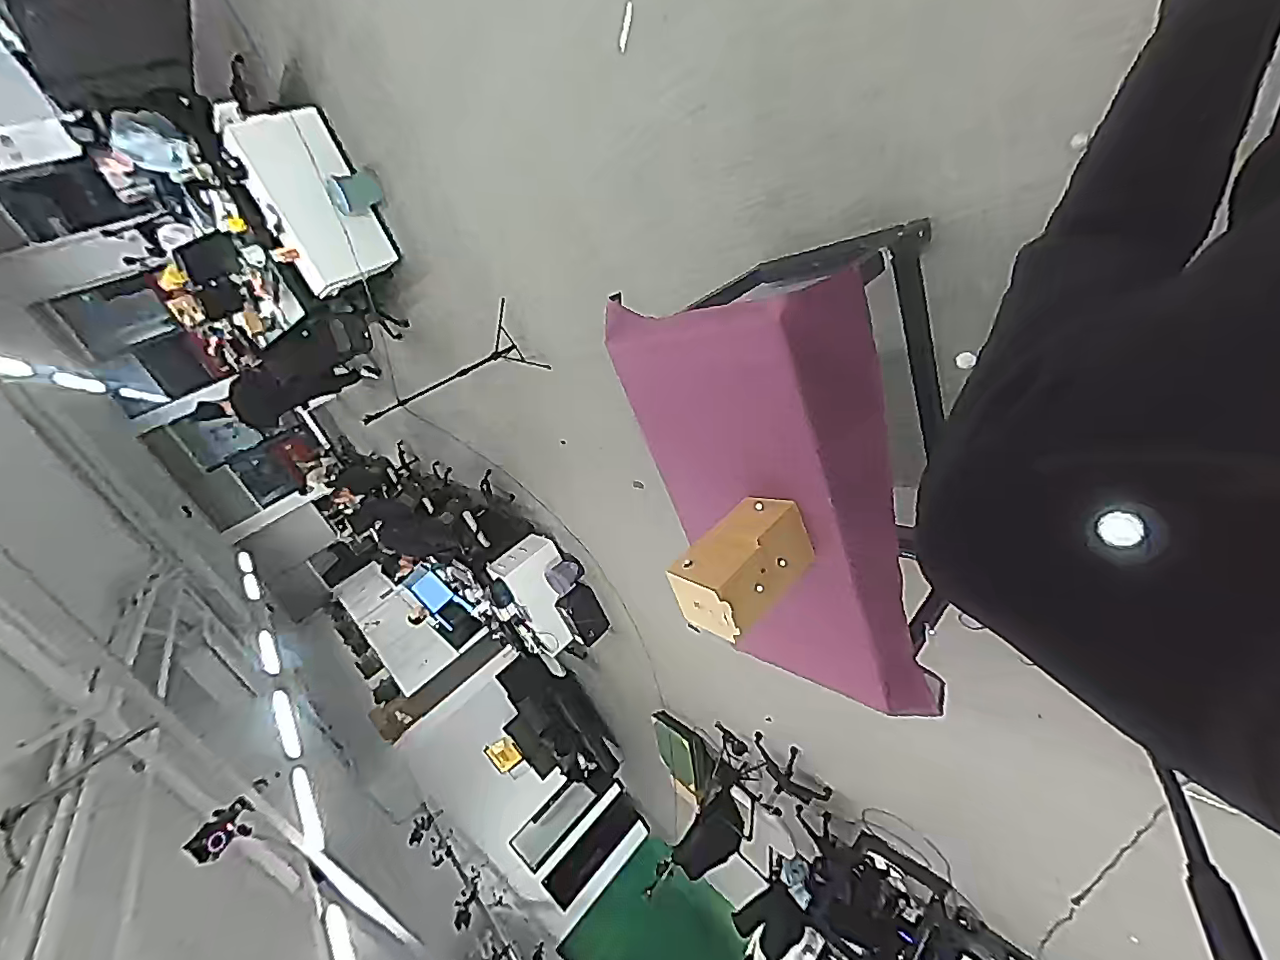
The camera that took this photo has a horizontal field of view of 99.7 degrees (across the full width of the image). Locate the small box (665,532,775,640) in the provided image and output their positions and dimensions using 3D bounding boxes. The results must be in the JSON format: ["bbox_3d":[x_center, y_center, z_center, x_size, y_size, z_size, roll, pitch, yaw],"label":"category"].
[{"bbox_3d":[0.197,0.248,1.315,0.179,0.176,0.168,12,133,50],"label":"small box"}]

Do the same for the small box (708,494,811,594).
[{"bbox_3d":[0.313,0.158,1.390,0.168,0.176,0.179,4,126,53],"label":"small box"}]
